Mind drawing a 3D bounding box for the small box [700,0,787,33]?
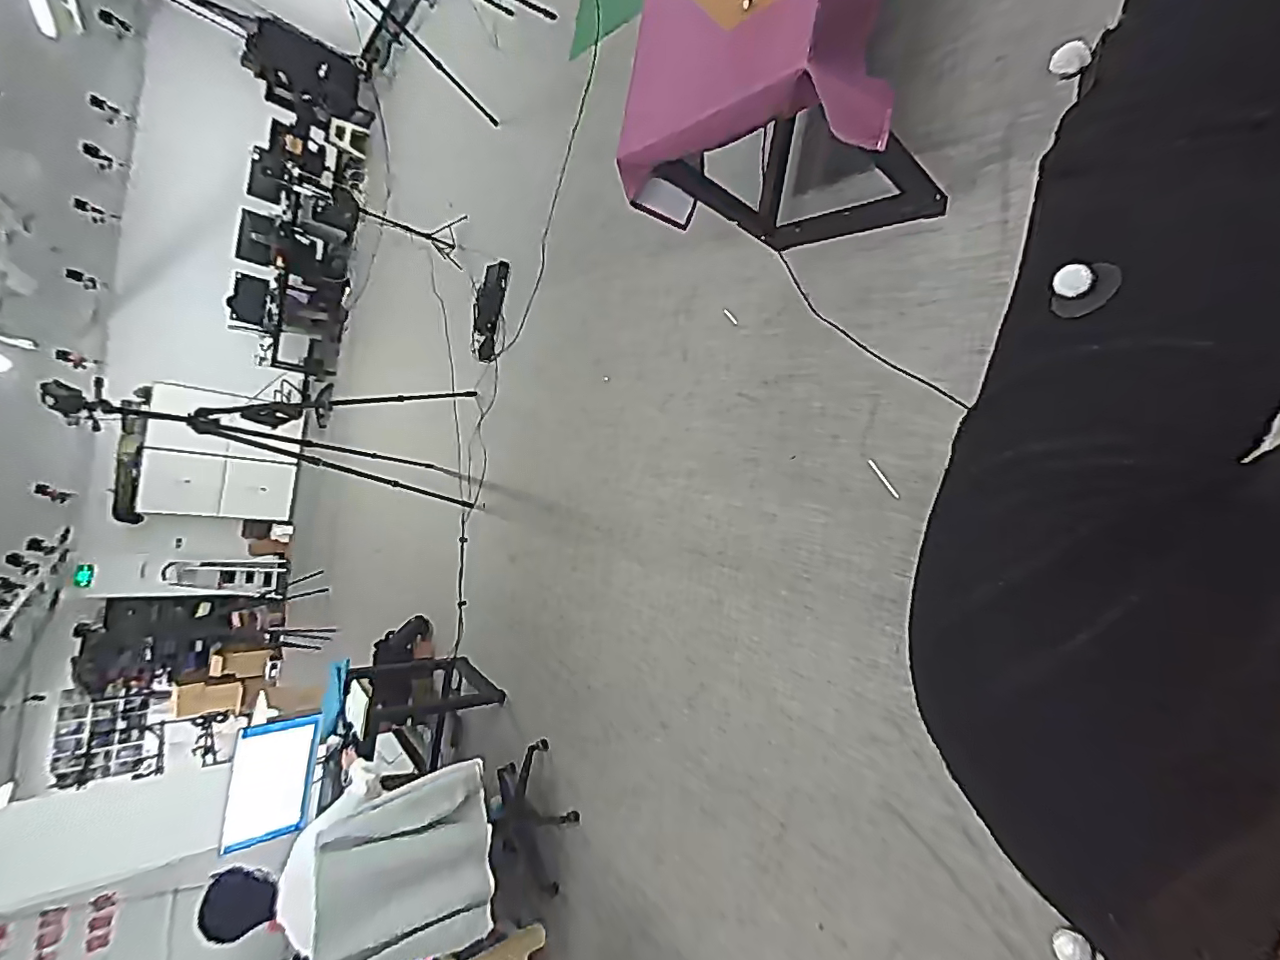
[{"bbox_3d":[0.222,-1.078,1.099,0.179,0.176,0.168,13,93,49],"label":"small box"}]
